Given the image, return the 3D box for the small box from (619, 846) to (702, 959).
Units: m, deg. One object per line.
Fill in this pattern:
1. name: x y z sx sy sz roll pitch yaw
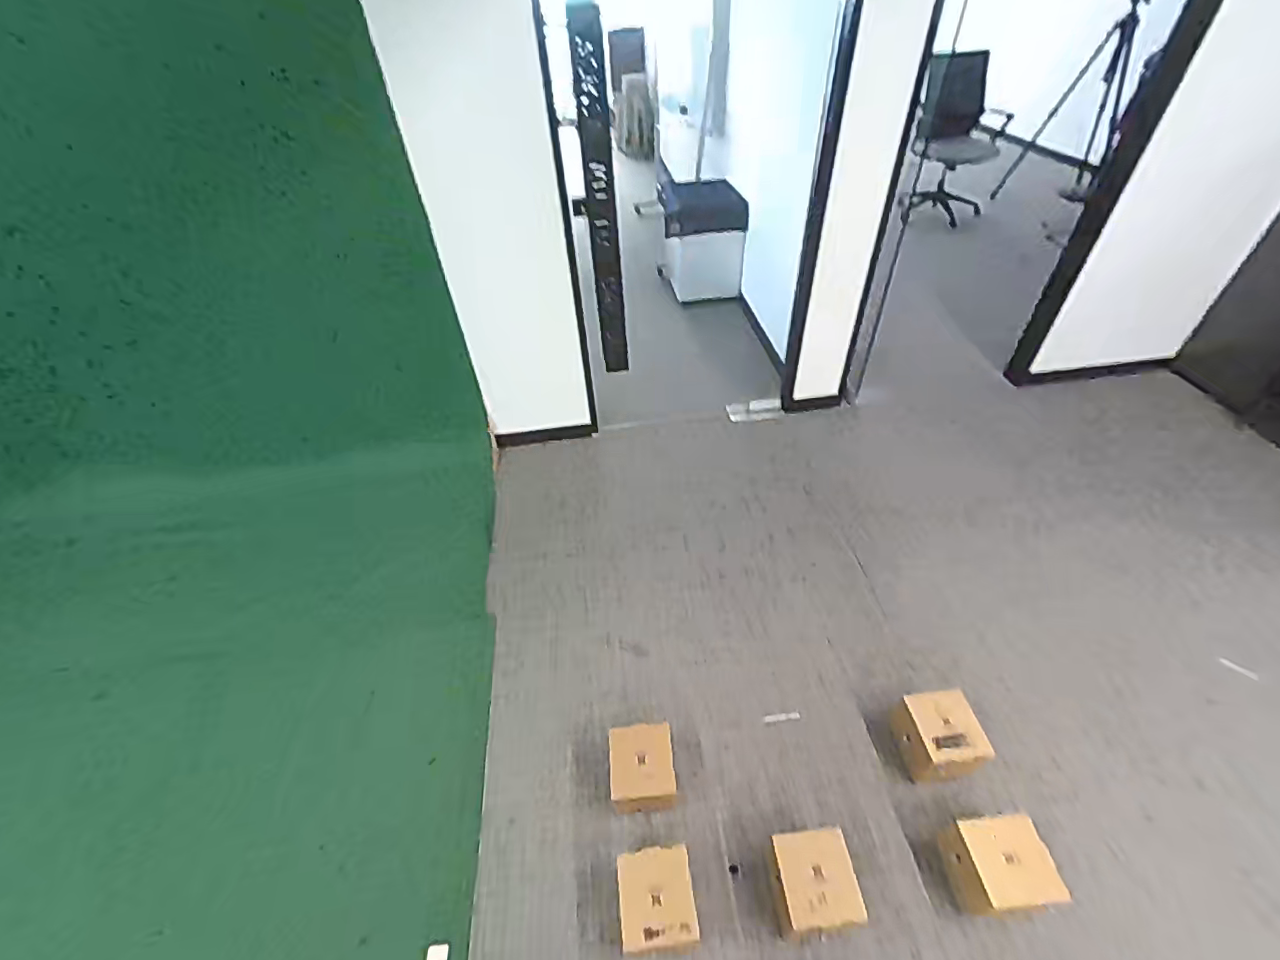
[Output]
1. small box: 0.043 0.966 1.229 0.168 0.176 0.179 -7 43 -2

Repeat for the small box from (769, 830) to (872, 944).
1. small box: 0.400 0.932 1.238 0.168 0.176 0.179 -6 44 -1

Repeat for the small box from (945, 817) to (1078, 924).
1. small box: 0.833 0.899 1.243 0.179 0.176 0.168 -4 44 -2
